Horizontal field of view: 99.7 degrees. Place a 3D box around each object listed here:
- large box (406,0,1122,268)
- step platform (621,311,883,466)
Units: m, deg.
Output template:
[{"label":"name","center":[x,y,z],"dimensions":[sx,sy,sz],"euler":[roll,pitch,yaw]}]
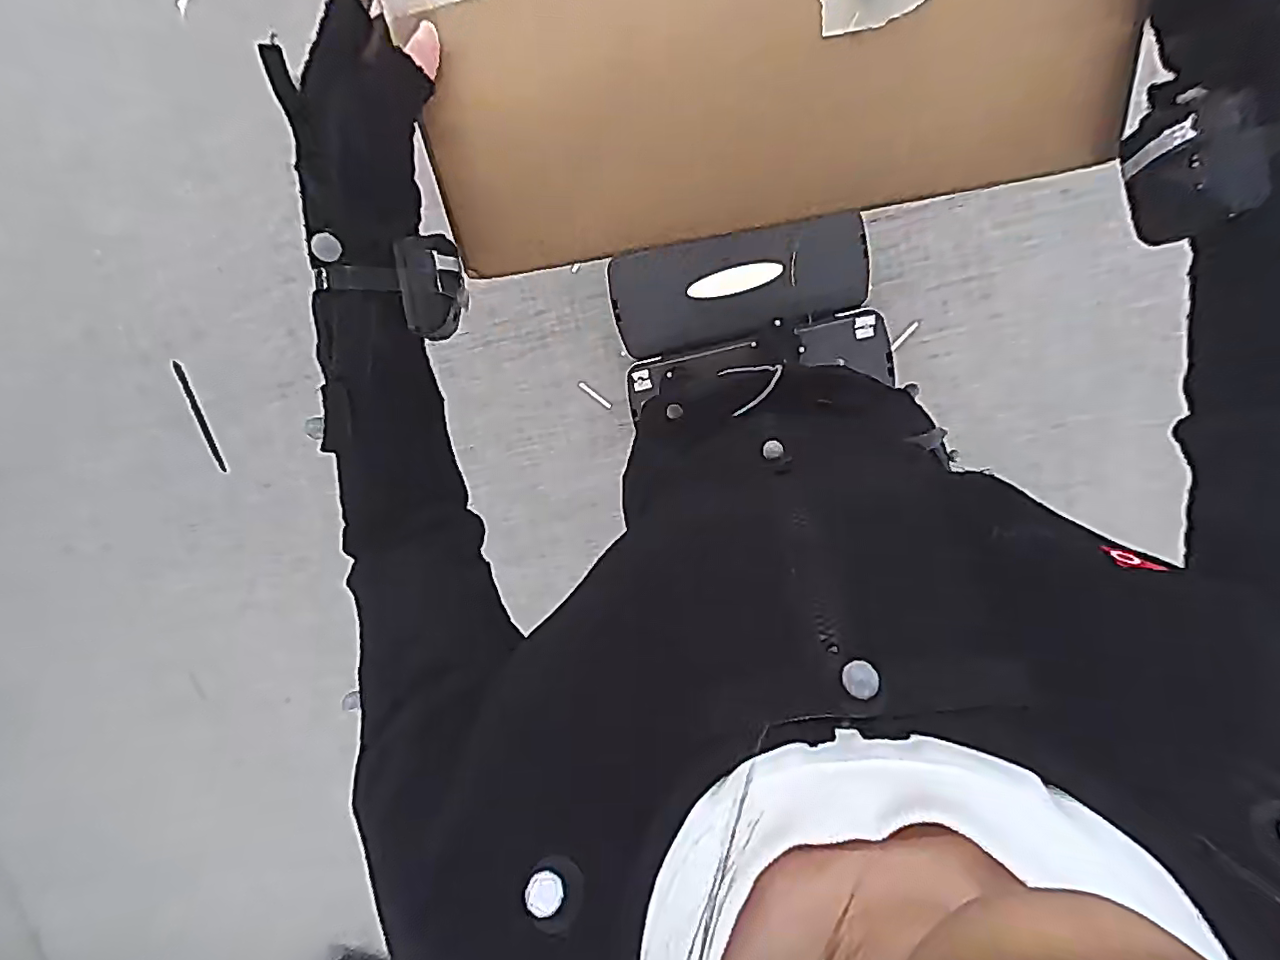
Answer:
[{"label":"large box","center":[0.064,-0.379,0.421],"dimensions":[0.408,0.320,0.320],"euler":[-7,117,9]},{"label":"step platform","center":[0.293,-0.241,1.481],"dimensions":[0.684,0.204,0.286],"euler":[-11,103,14]}]
